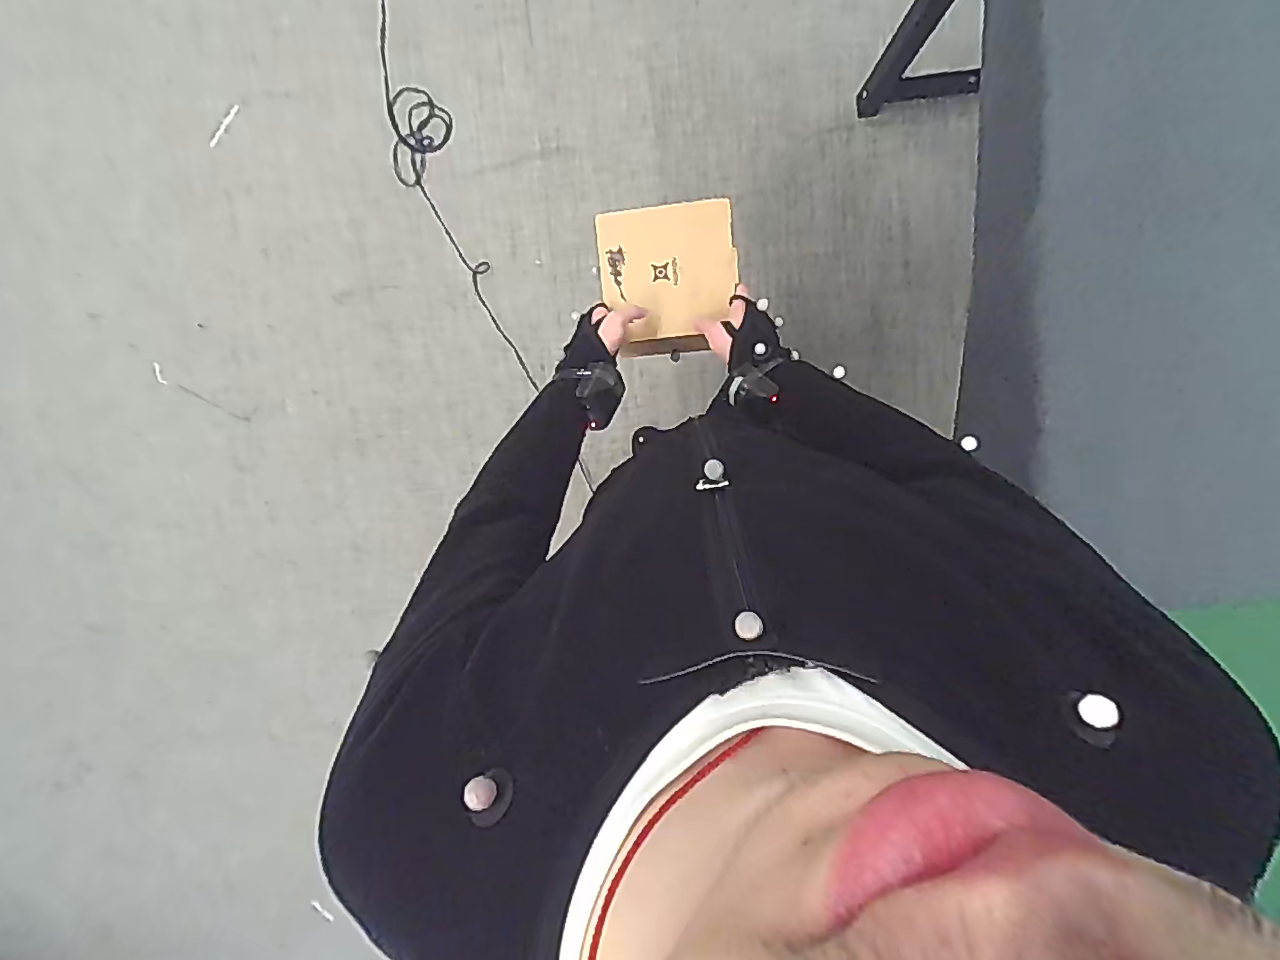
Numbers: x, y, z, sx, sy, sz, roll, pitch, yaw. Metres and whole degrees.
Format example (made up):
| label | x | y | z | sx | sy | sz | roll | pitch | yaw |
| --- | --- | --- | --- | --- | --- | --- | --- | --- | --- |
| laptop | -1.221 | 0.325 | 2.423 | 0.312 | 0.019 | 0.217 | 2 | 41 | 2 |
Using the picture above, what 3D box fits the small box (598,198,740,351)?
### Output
| label | x | y | z | sx | sy | sz | roll | pitch | yaw |
| --- | --- | --- | --- | --- | --- | --- | --- | --- | --- |
| small box | 0.042 | -0.281 | 0.773 | 0.179 | 0.176 | 0.168 | -4 | 97 | 5 |
